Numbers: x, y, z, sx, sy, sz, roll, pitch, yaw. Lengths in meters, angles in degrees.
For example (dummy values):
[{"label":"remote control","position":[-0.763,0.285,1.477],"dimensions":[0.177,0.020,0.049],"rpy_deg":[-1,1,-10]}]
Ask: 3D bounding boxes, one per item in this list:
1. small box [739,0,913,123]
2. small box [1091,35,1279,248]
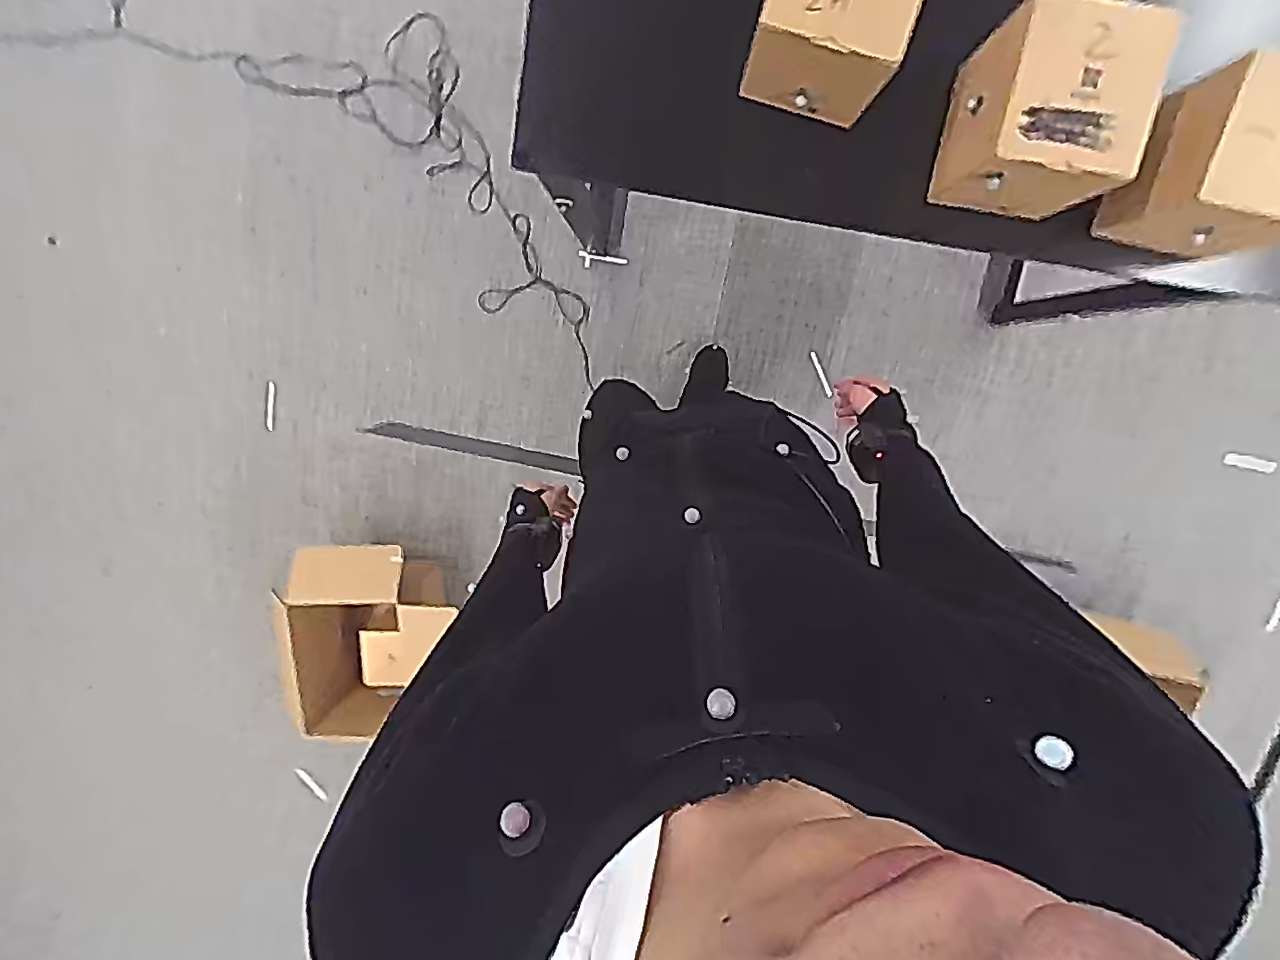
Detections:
[{"label":"small box","position":[0.231,-0.588,0.665],"dimensions":[0.168,0.176,0.179],"rpy_deg":[15,102,-1]},{"label":"small box","position":[0.743,-0.407,0.685],"dimensions":[0.179,0.176,0.168],"rpy_deg":[12,101,1]}]
